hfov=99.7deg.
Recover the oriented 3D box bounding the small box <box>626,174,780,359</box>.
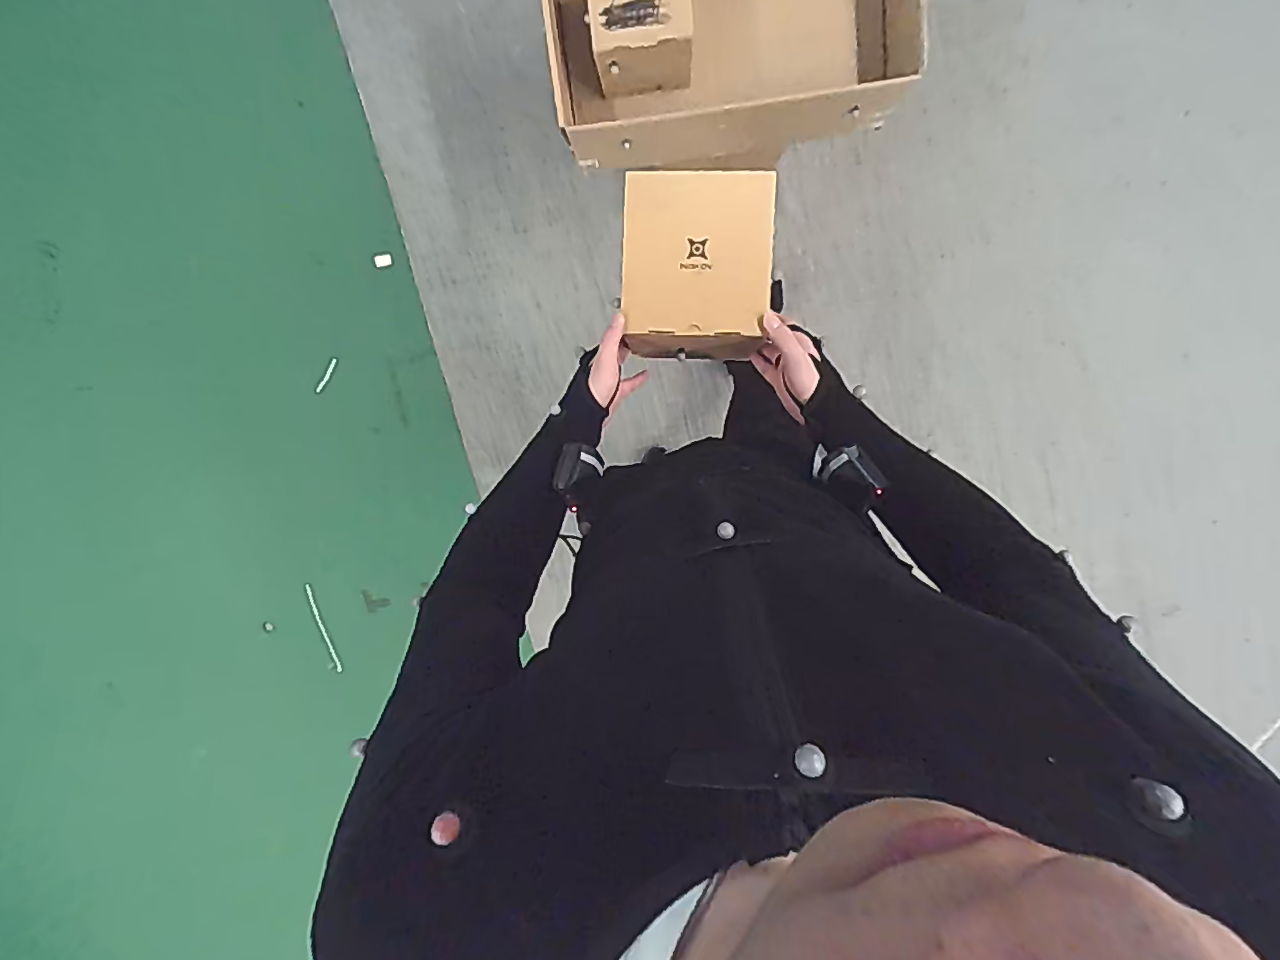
[{"bbox_3d":[0.071,-0.253,0.674,0.168,0.176,0.179,2,96,3],"label":"small box"}]
